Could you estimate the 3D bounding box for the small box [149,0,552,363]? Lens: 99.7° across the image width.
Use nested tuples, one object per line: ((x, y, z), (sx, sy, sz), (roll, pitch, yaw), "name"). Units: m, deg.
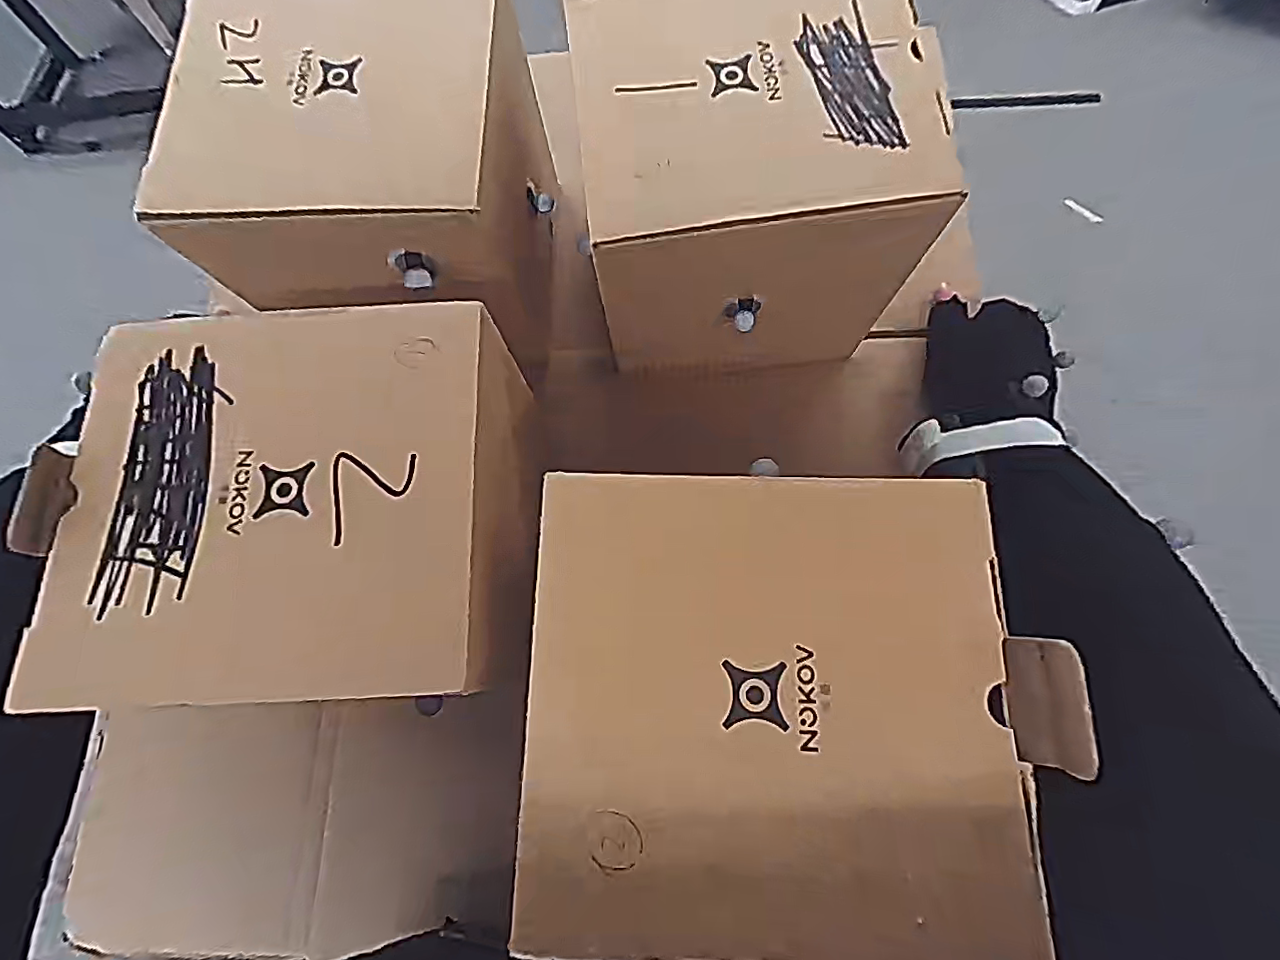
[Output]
((-0.163, -0.191, 0.371), (0.179, 0.176, 0.168), (0, 76, 4), "small box")
